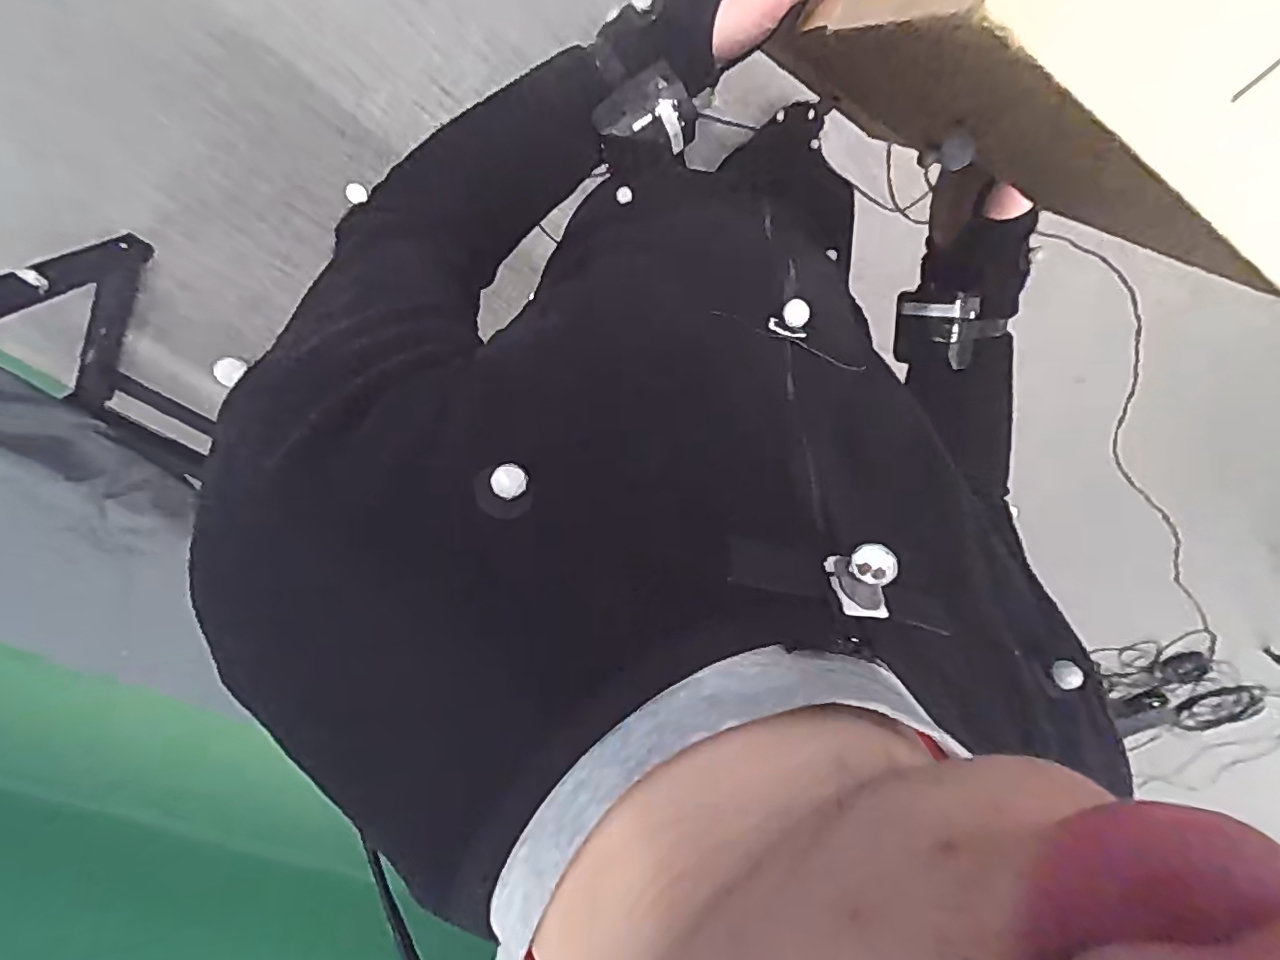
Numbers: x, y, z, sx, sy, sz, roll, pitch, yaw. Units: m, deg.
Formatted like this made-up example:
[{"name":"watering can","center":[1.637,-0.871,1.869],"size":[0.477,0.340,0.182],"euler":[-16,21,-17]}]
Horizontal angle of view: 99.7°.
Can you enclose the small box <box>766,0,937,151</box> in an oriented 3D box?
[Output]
[{"name":"small box","center":[0.218,-0.405,0.434],"size":[0.168,0.176,0.179],"euler":[25,125,-15]}]

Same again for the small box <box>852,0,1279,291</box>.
[{"name":"small box","center":[0.203,-0.201,0.179],"size":[0.168,0.176,0.179],"euler":[25,125,-16]}]

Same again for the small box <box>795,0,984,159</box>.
[{"name":"small box","center":[0.208,-0.306,0.306],"size":[0.168,0.176,0.179],"euler":[23,125,-15]}]
